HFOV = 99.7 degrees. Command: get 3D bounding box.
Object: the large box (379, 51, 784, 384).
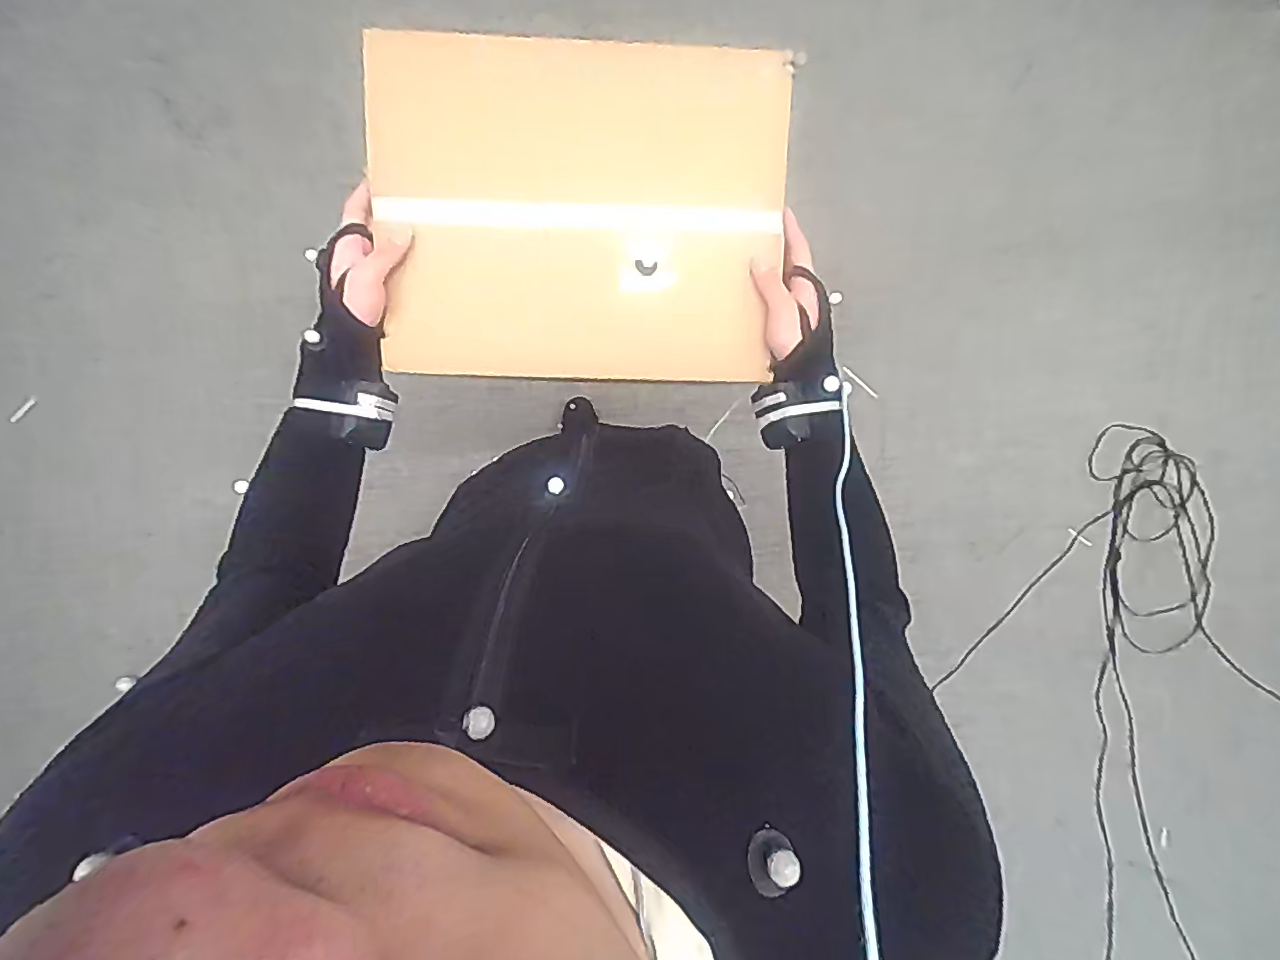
[{"bbox_3d":[-0.064,-0.284,0.698,0.408,0.320,0.320,1,100,-3],"label":"large box"}]
